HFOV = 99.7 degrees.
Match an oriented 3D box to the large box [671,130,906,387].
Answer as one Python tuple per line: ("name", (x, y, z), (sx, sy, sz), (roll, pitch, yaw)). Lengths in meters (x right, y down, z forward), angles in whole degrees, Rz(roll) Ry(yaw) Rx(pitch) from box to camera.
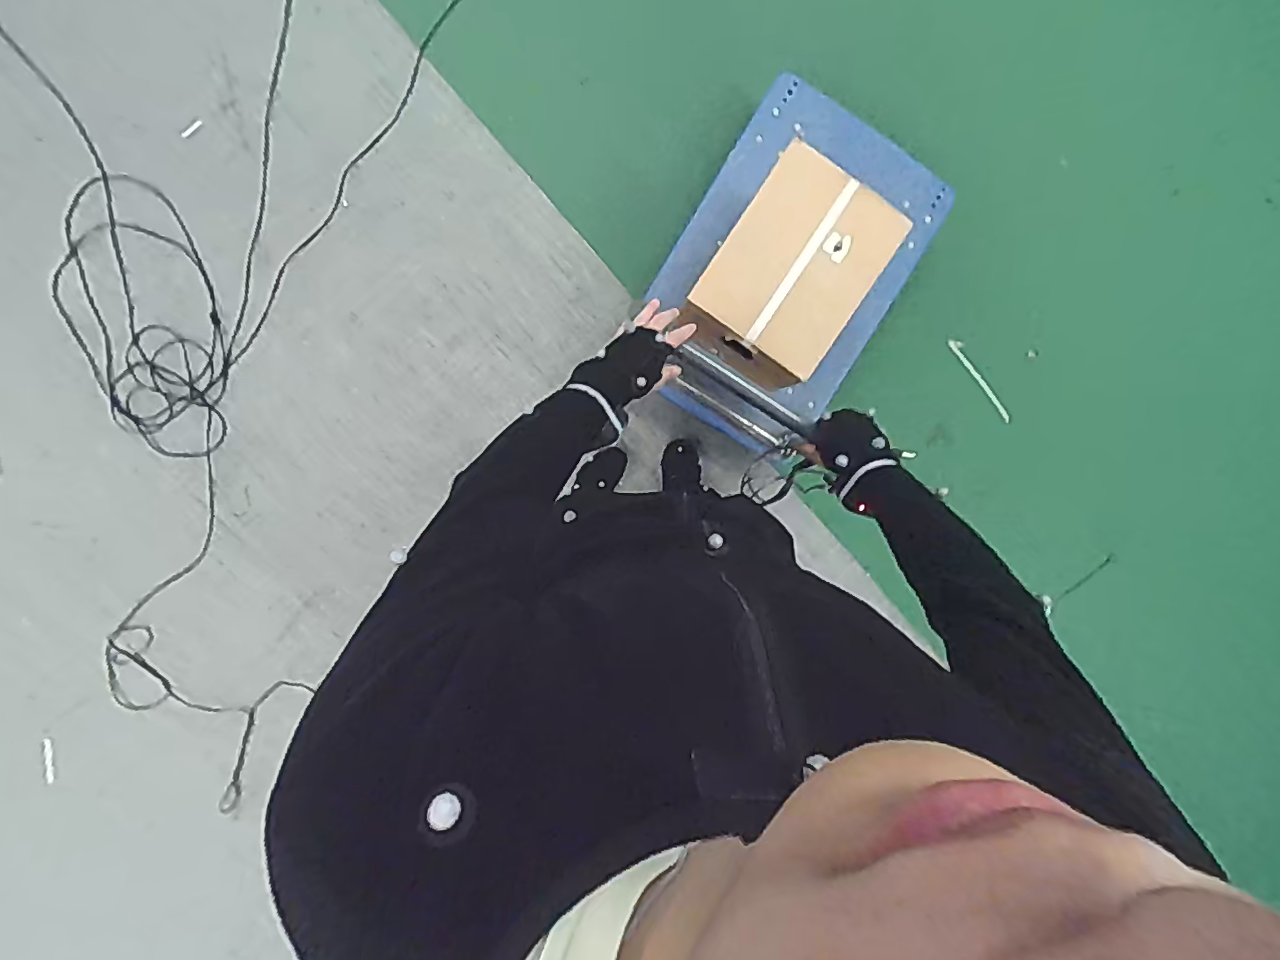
("large box", (0.315, -0.477, 1.266), (0.320, 0.320, 0.408), (34, 92, -6))
